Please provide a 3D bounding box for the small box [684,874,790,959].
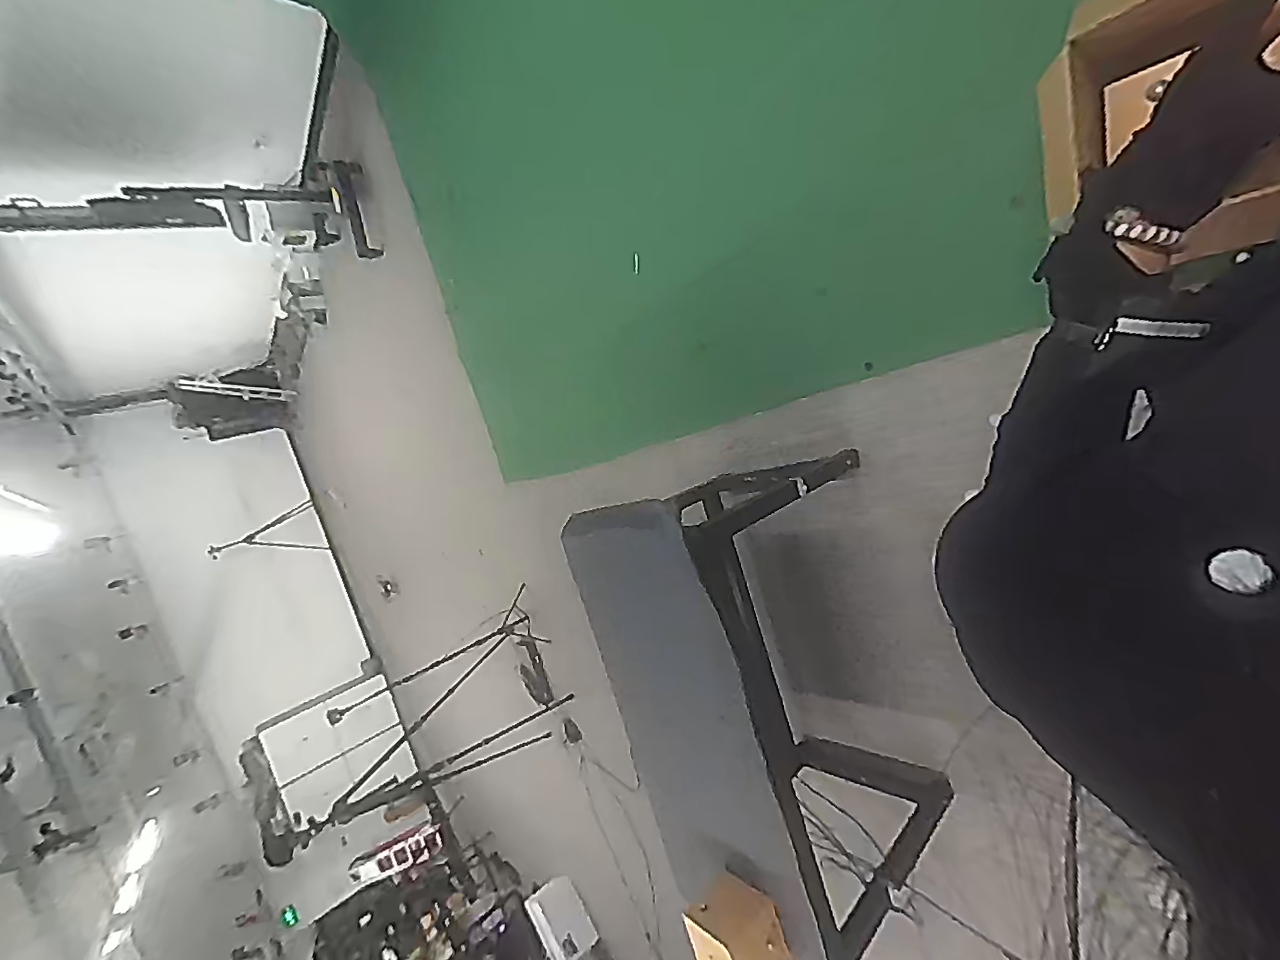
[{"bbox_3d":[0.249,1.163,1.383,0.179,0.176,0.168,-15,94,54],"label":"small box"}]
